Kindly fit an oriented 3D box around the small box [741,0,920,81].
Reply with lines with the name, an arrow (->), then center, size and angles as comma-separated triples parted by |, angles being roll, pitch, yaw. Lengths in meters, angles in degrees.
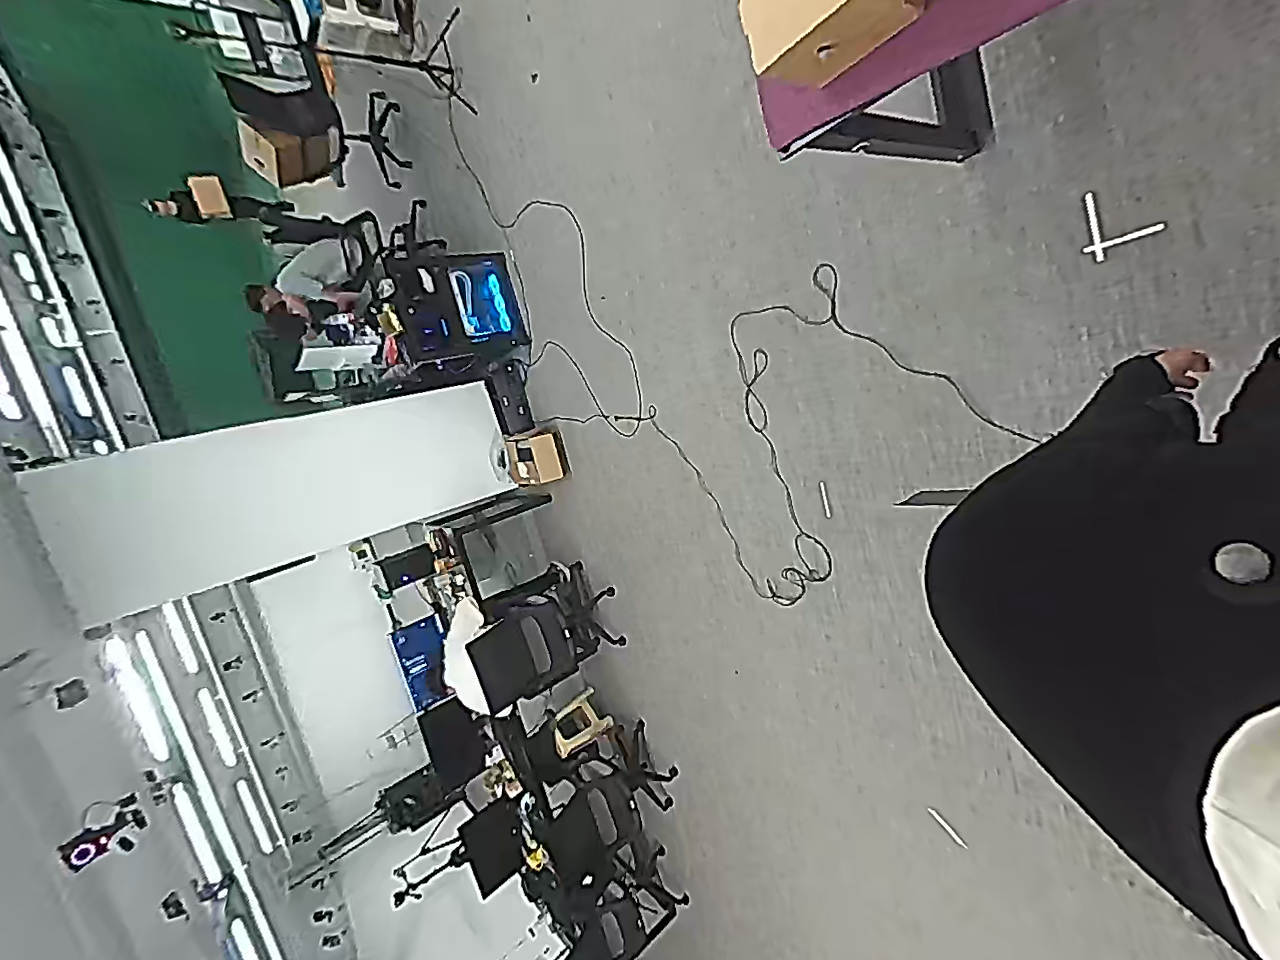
small box -> 0.264, -0.703, 0.763 | 0.179, 0.176, 0.168 | -3, 105, 55
